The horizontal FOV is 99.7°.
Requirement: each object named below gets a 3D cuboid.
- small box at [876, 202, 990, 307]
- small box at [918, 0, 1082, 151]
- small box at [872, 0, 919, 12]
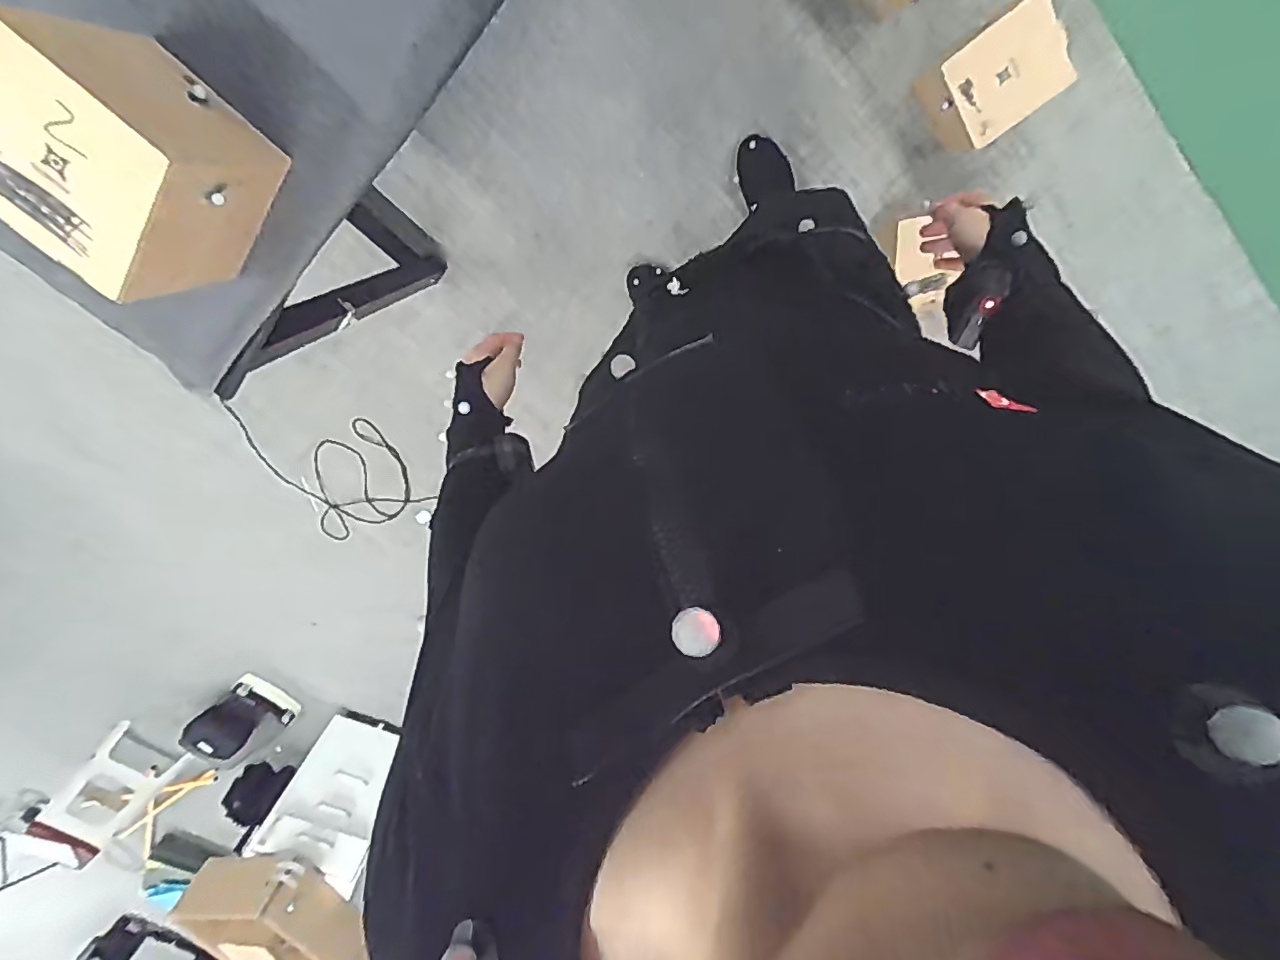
[{"bbox_3d":[0.619,-0.489,1.166,0.168,0.176,0.179,-4,120,10],"label":"small box"},{"bbox_3d":[0.657,-0.748,1.004,0.179,0.176,0.168,-31,113,23],"label":"small box"},{"bbox_3d":[0.452,-0.943,0.913,0.179,0.176,0.168,34,119,-13],"label":"small box"}]
